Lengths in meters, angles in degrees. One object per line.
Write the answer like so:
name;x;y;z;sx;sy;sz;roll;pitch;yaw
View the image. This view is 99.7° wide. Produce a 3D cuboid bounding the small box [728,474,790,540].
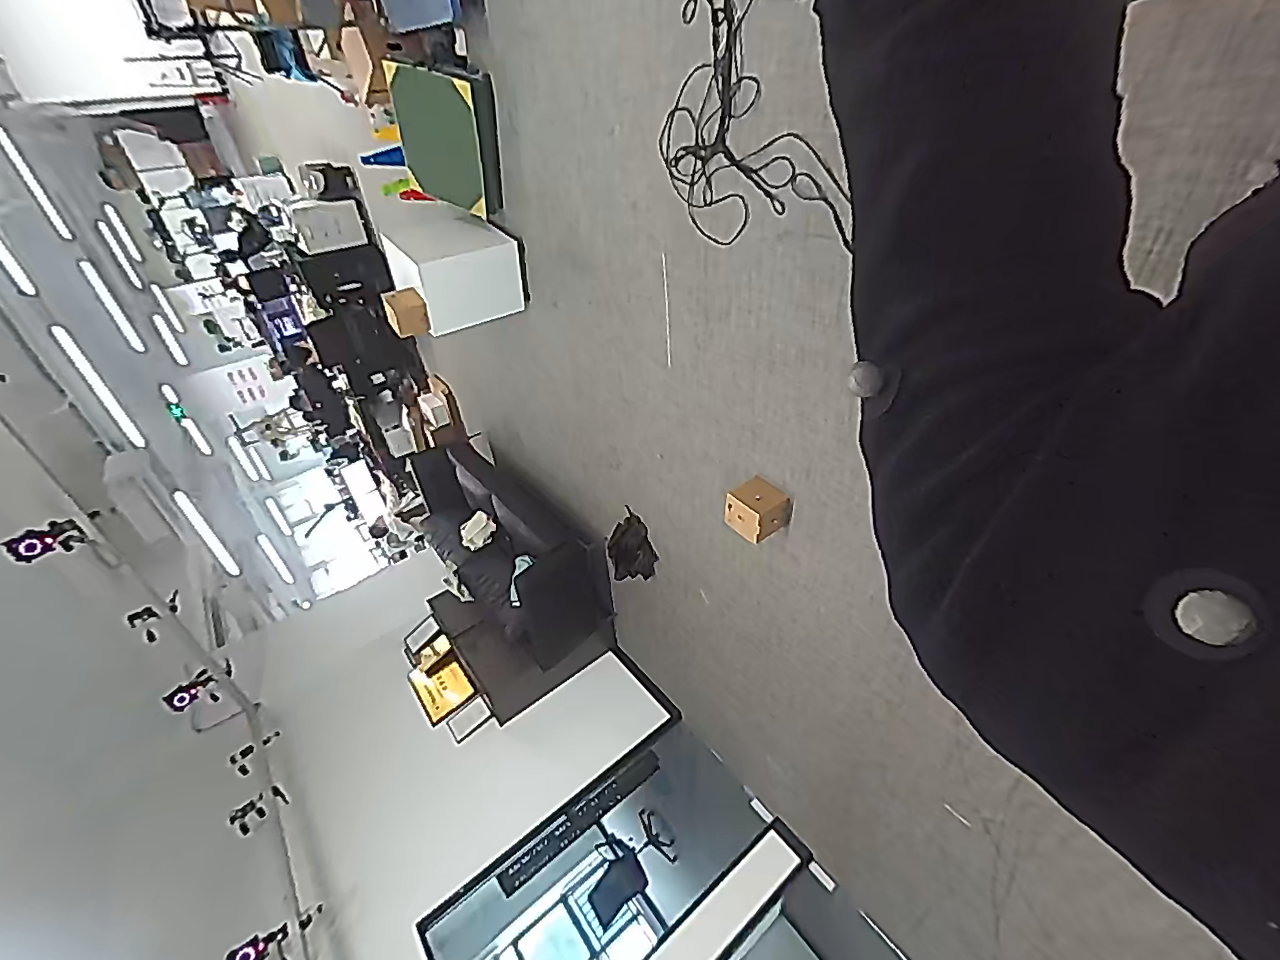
small box;0.476;0.102;2.166;0.179;0.176;0.168;37;143;38
